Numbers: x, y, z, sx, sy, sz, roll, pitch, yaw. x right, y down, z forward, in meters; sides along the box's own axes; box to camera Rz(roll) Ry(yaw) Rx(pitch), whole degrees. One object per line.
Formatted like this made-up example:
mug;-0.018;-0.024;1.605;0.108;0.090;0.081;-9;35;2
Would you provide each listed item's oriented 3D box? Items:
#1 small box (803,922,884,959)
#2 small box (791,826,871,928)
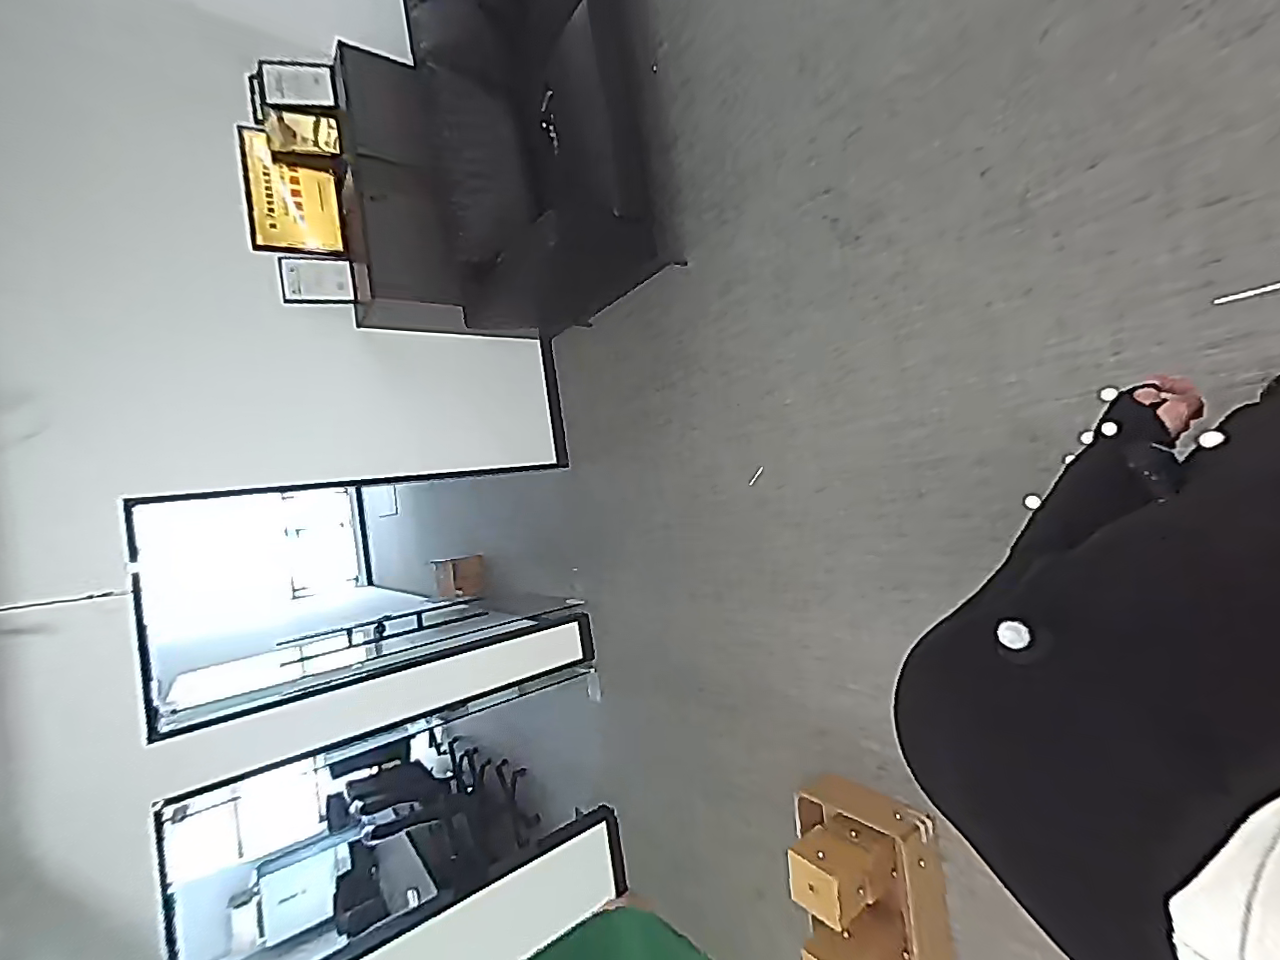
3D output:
small box;0.644;1.531;1.690;0.179;0.176;0.168;-12;86;53
small box;0.600;1.235;1.703;0.179;0.176;0.168;-2;94;51
